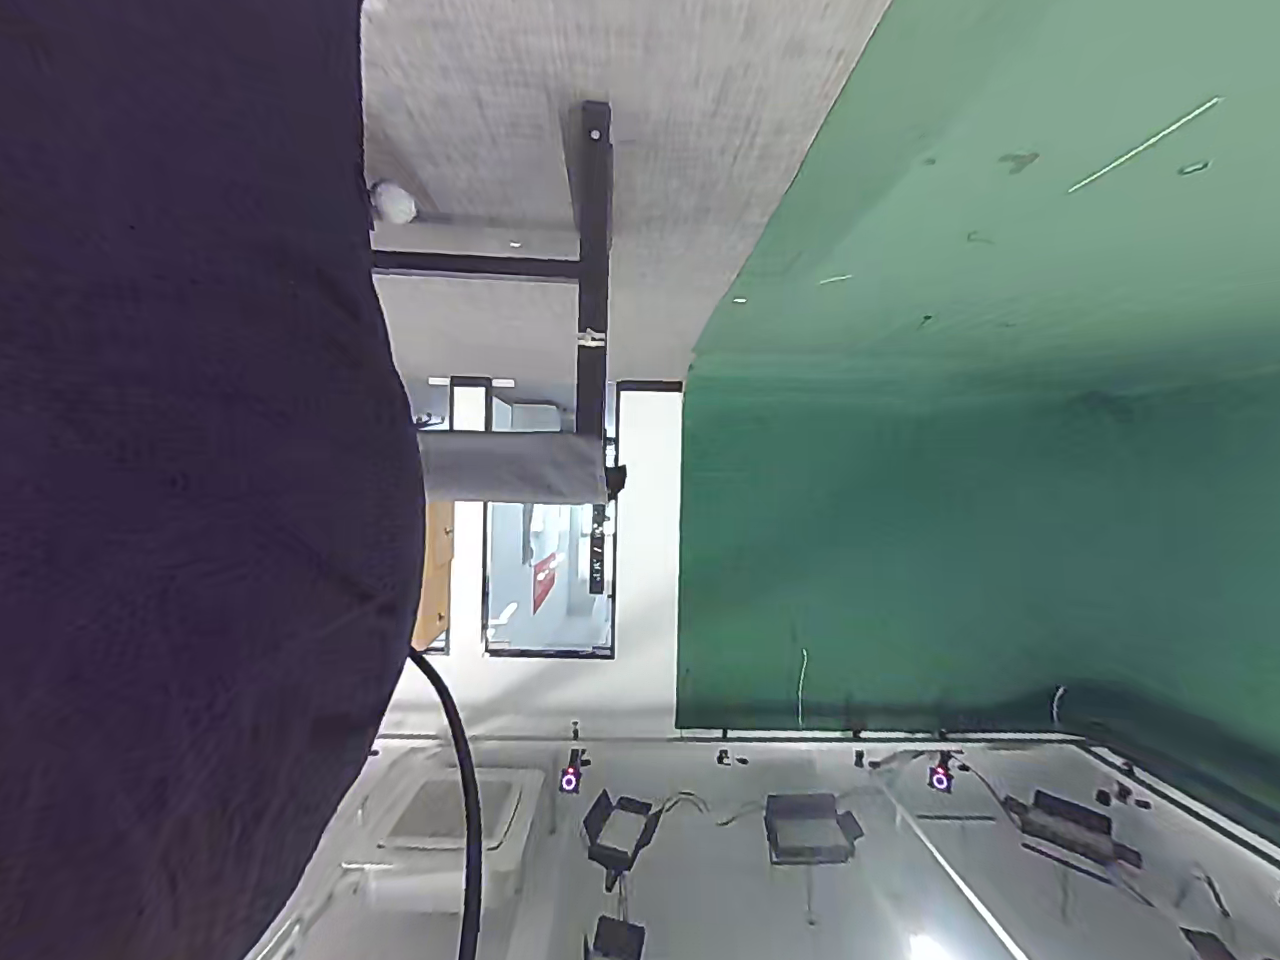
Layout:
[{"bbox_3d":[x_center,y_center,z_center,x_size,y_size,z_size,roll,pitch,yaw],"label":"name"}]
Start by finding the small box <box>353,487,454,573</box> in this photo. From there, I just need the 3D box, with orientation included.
[{"bbox_3d":[-0.511,0.103,1.184,0.168,0.176,0.179,1,-178,-6],"label":"small box"}]

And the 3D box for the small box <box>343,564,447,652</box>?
[{"bbox_3d":[-0.531,0.268,1.195,0.168,0.176,0.179,1,-179,-3],"label":"small box"}]
